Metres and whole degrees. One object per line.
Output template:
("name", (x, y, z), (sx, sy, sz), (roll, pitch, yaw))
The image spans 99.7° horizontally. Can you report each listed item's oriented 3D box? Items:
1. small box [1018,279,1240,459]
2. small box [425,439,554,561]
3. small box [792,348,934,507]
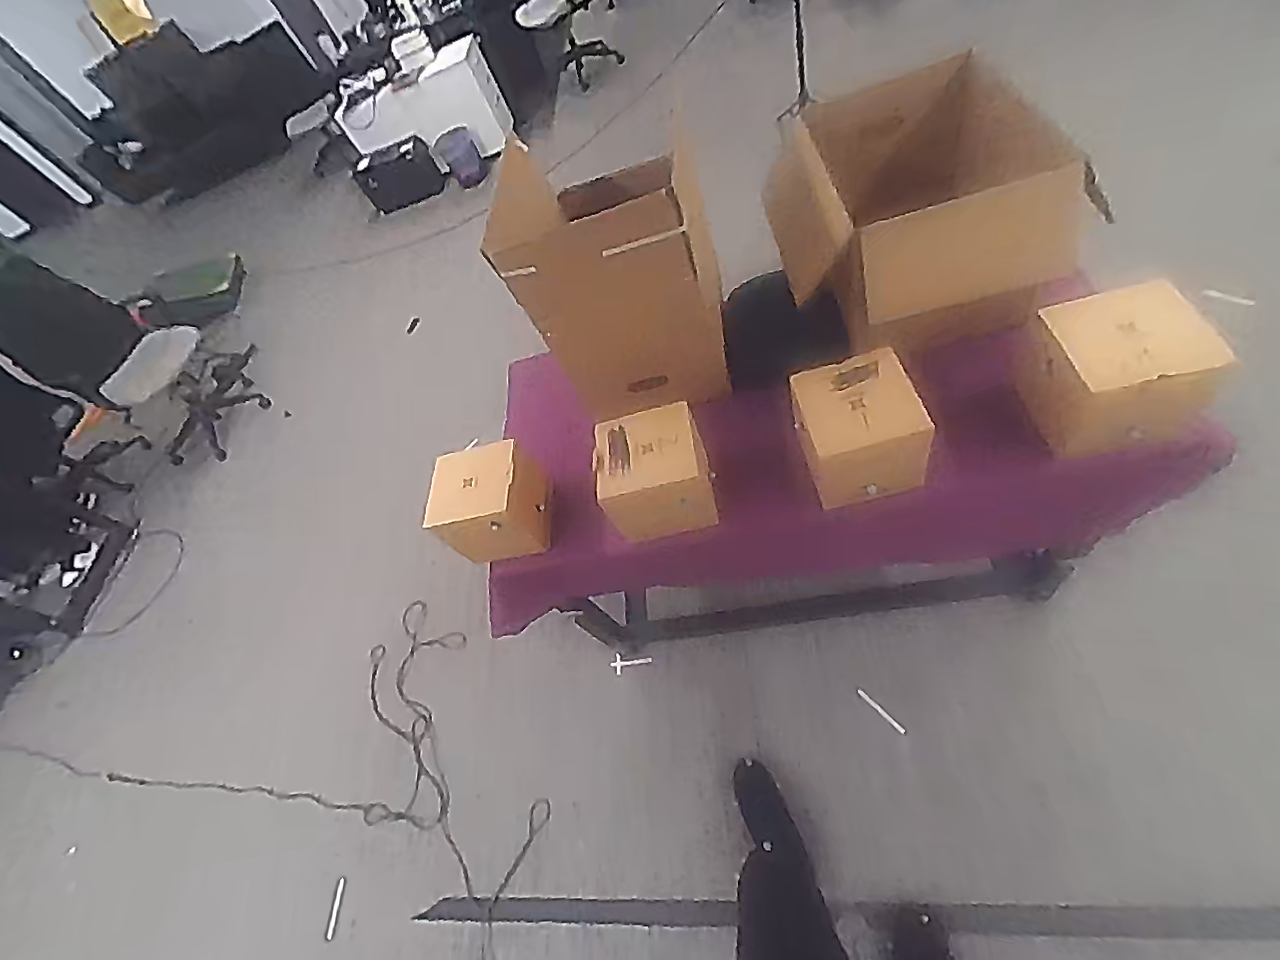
("small box", (0.700, -0.159, 0.806), (0.168, 0.176, 0.179), (-12, 55, 16))
("small box", (-0.289, 0.048, 1.071), (0.179, 0.176, 0.168), (-12, 55, 13))
("small box", (0.359, -0.081, 0.895), (0.168, 0.176, 0.179), (-16, 55, 12))
